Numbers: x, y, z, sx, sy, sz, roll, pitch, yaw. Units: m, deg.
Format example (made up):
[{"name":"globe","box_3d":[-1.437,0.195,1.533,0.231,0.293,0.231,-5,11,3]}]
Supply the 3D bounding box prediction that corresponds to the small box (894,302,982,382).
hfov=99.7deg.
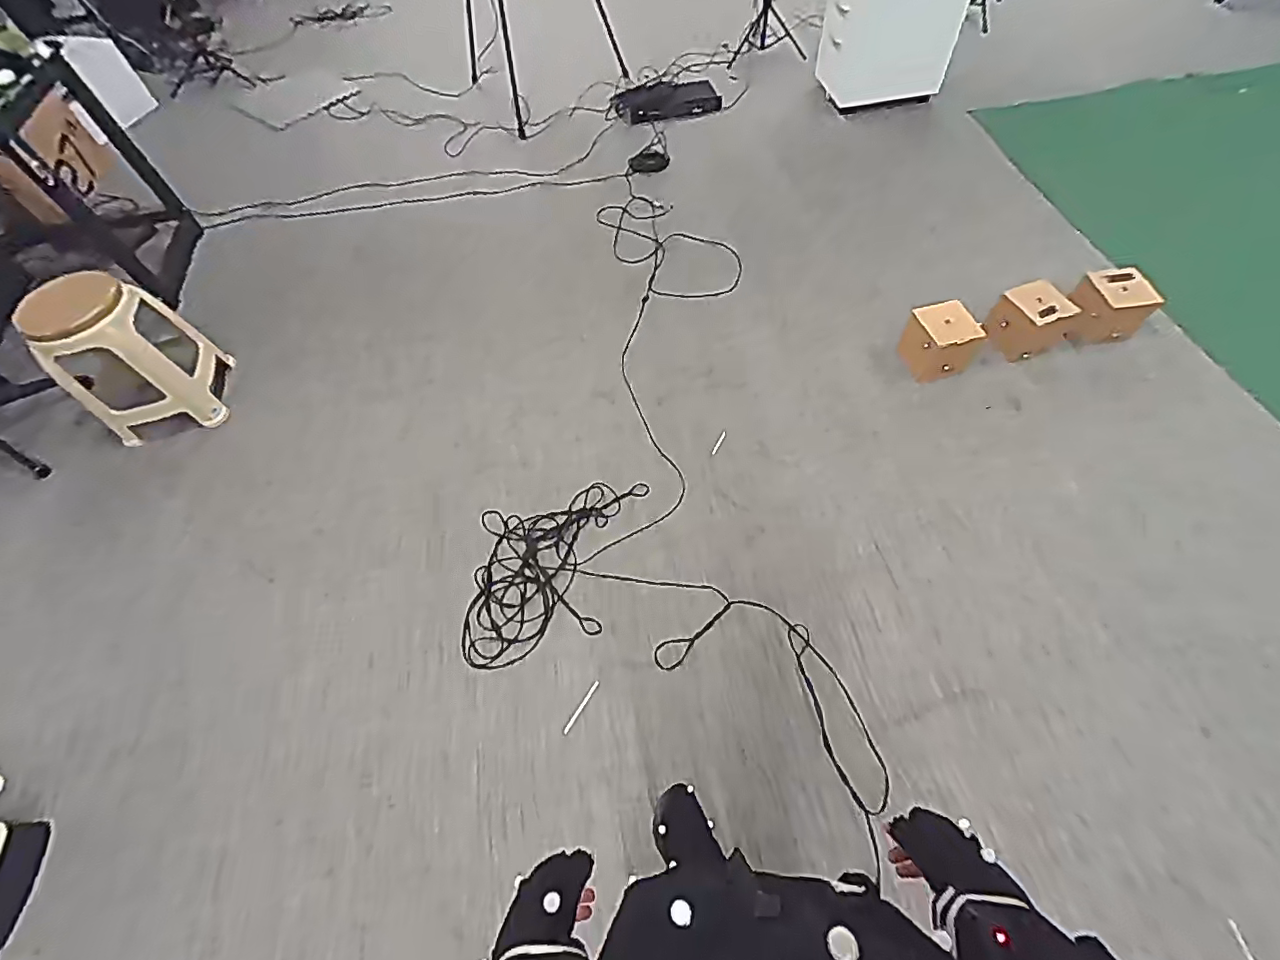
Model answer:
[{"name":"small box","box_3d":[0.983,-0.456,1.803,0.168,0.176,0.179,-15,59,-4]}]

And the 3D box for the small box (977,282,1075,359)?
[{"name":"small box","box_3d":[1.291,-0.530,1.824,0.168,0.176,0.179,-18,58,-7]}]
